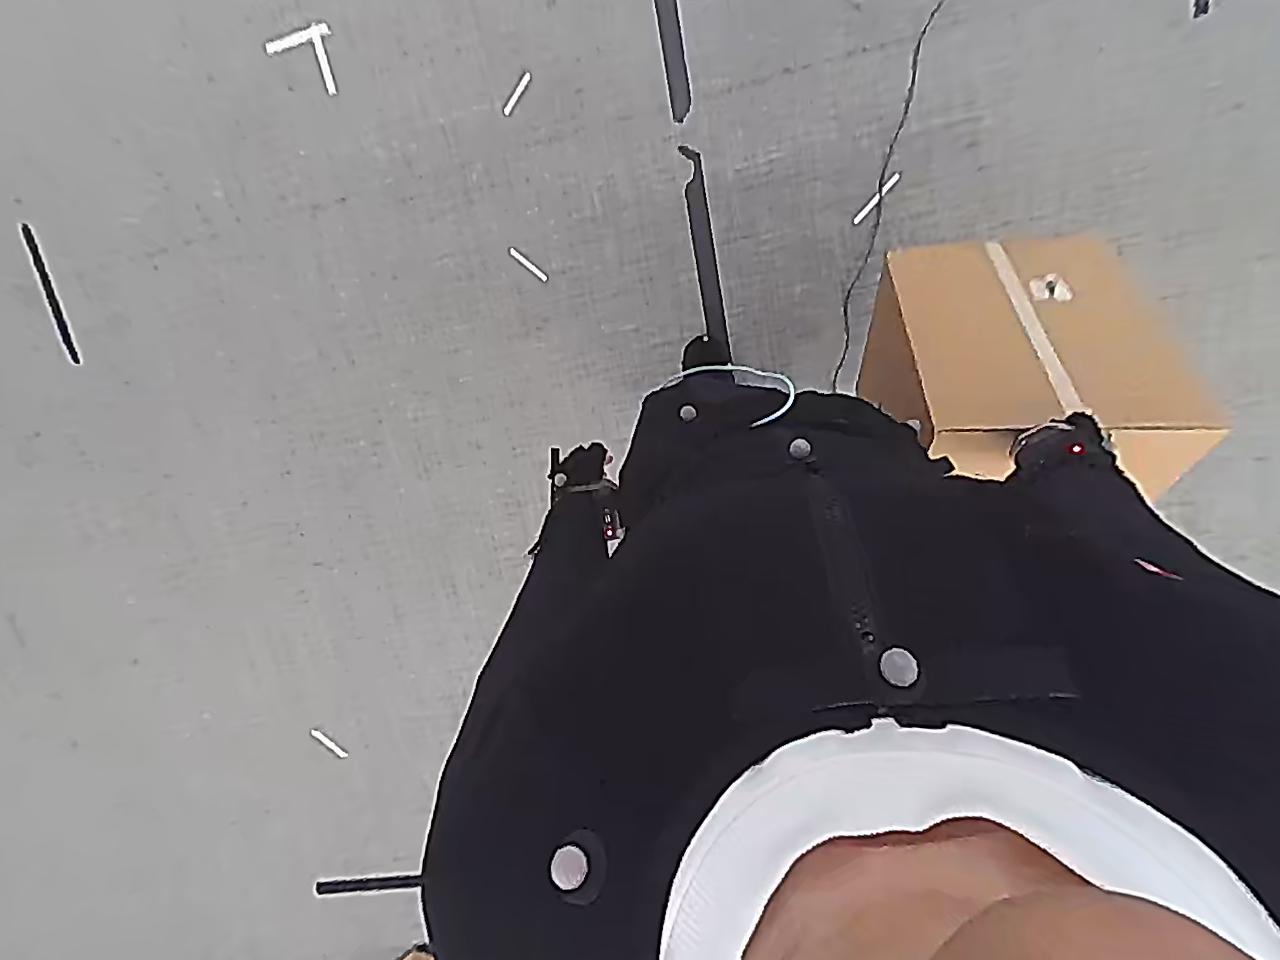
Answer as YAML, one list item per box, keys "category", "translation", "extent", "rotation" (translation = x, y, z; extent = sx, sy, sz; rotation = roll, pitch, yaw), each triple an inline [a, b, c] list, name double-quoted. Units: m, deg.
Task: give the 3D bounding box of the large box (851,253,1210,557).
- category: "large box"
  translation: [0.557, -0.119, 0.890]
  extent: [0.320, 0.408, 0.320]
  rotation: [1, 141, 9]
